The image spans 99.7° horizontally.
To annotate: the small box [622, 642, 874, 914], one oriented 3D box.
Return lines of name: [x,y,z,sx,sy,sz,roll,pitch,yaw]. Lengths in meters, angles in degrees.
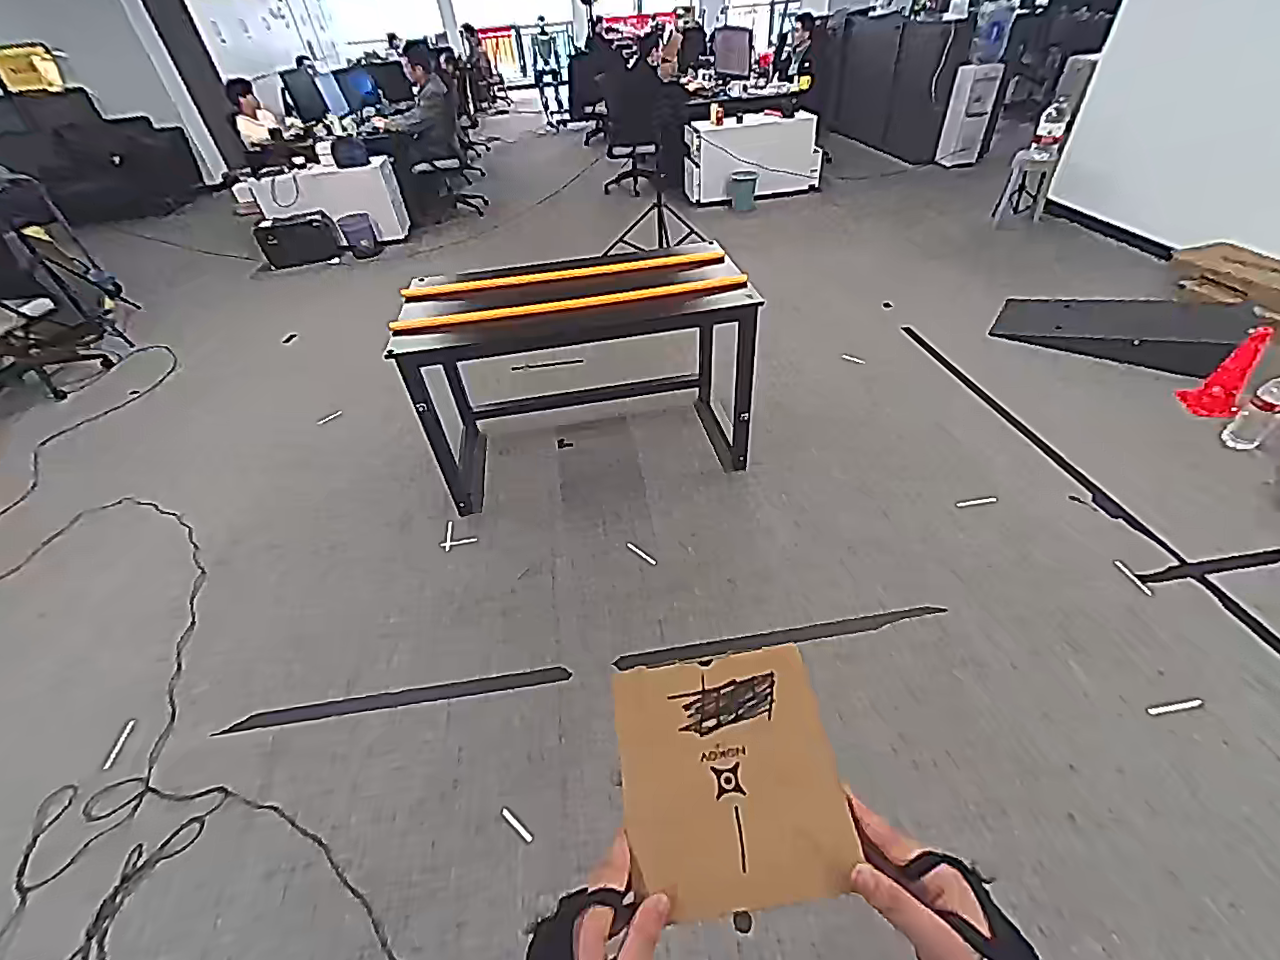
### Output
small box: [0.080,0.270,0.487,0.168,0.176,0.179,-10,52,1]
